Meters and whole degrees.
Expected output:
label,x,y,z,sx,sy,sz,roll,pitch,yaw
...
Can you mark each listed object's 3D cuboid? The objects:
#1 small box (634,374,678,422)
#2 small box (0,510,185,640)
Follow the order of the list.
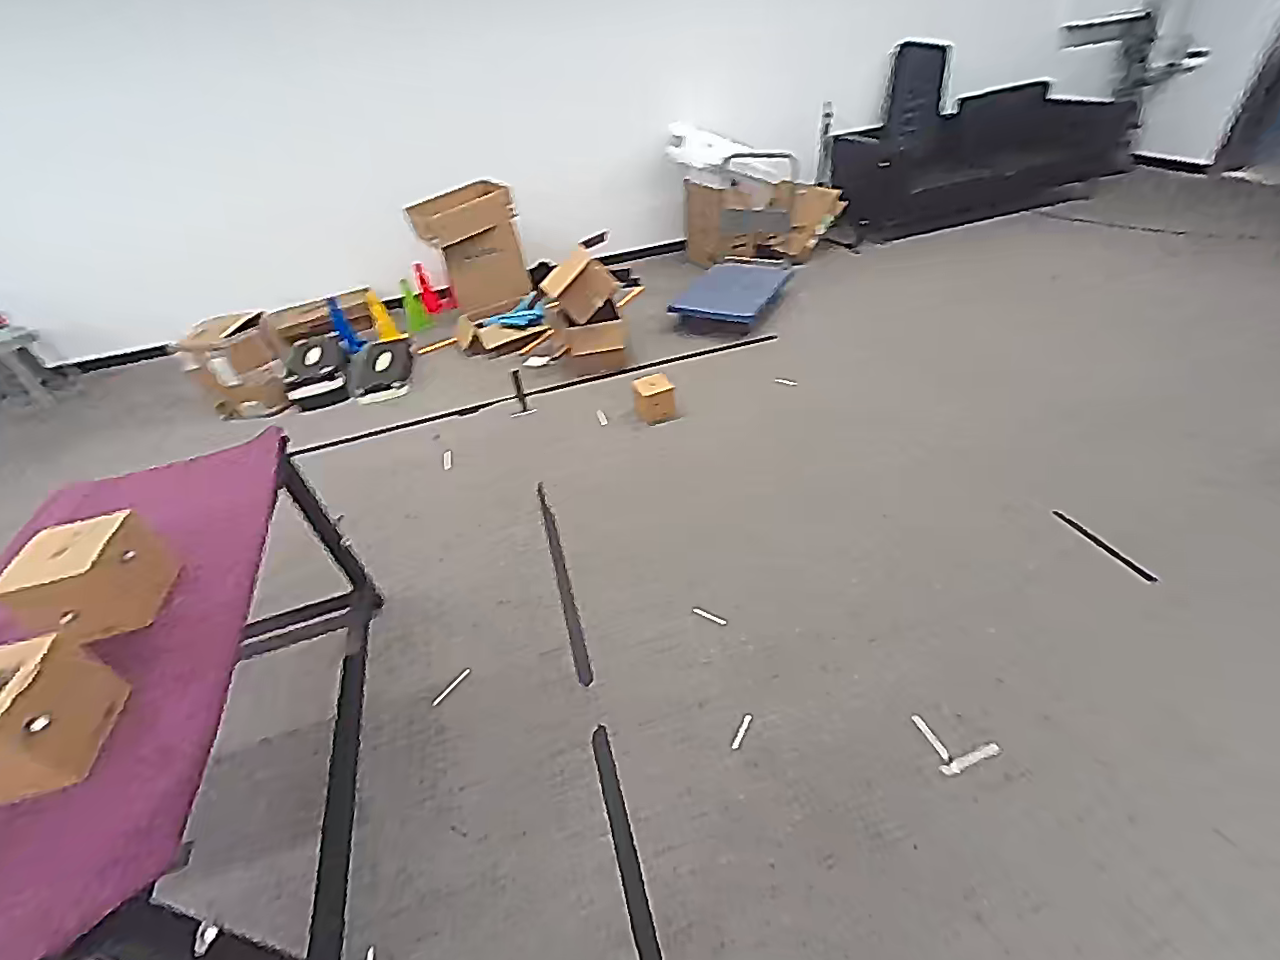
label,x,y,z,sx,sy,sz,roll,pitch,yaw
small box,0.086,-0.414,2.779,0.168,0.176,0.179,-20,40,-15
small box,-1.057,0.192,1.067,0.168,0.176,0.179,-14,39,-8
